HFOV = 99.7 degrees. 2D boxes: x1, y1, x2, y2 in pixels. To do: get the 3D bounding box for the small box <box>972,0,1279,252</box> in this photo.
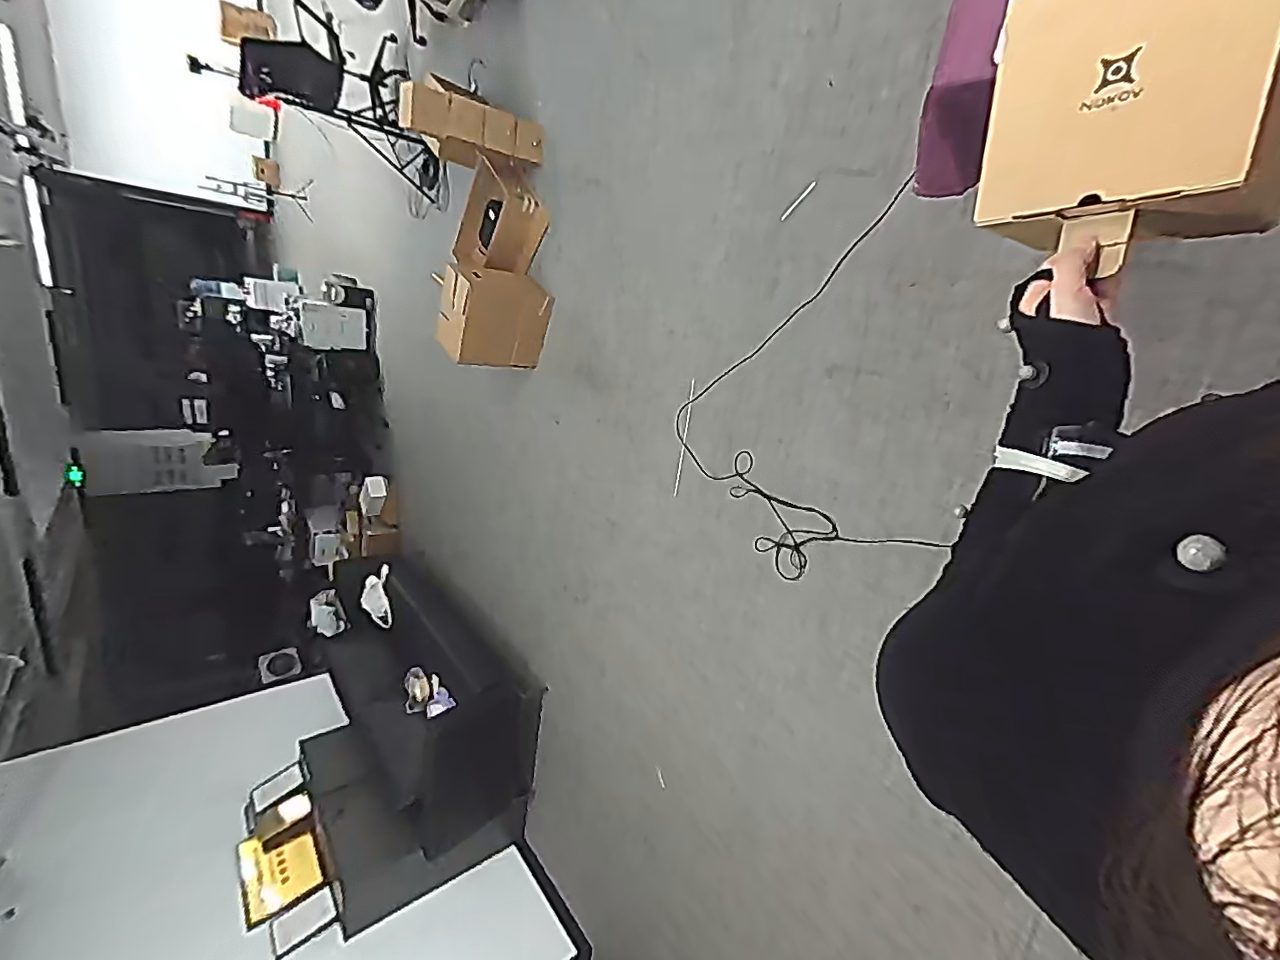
[{"bbox_3d":[0.414,-0.303,0.452,0.168,0.176,0.179,19,112,50],"label":"small box"}]
